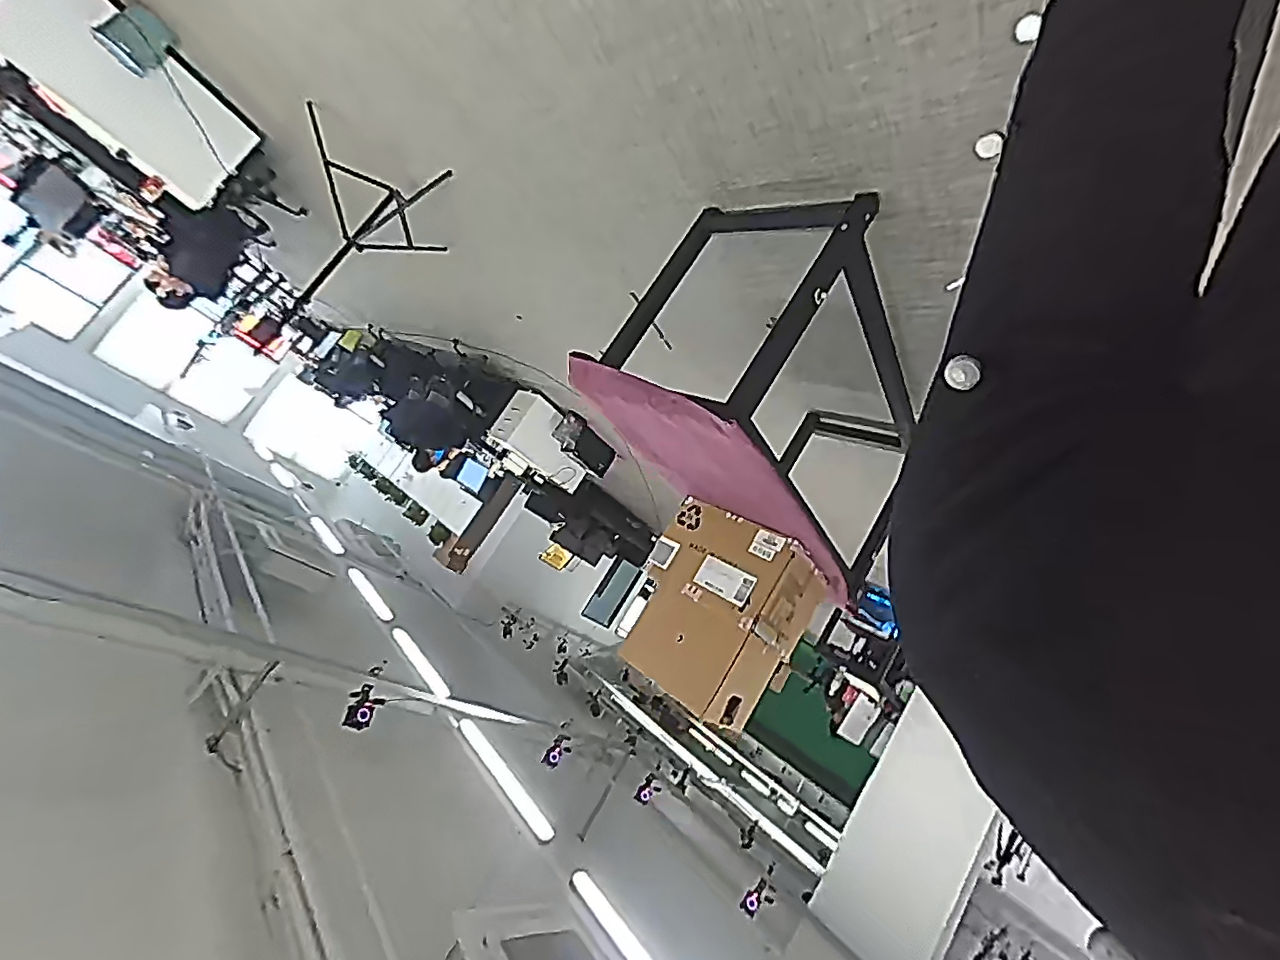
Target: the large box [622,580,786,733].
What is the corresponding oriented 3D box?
[{"bbox_3d":[0.221,0.598,1.873,0.408,0.320,0.320,22,166,44],"label":"large box"}]
